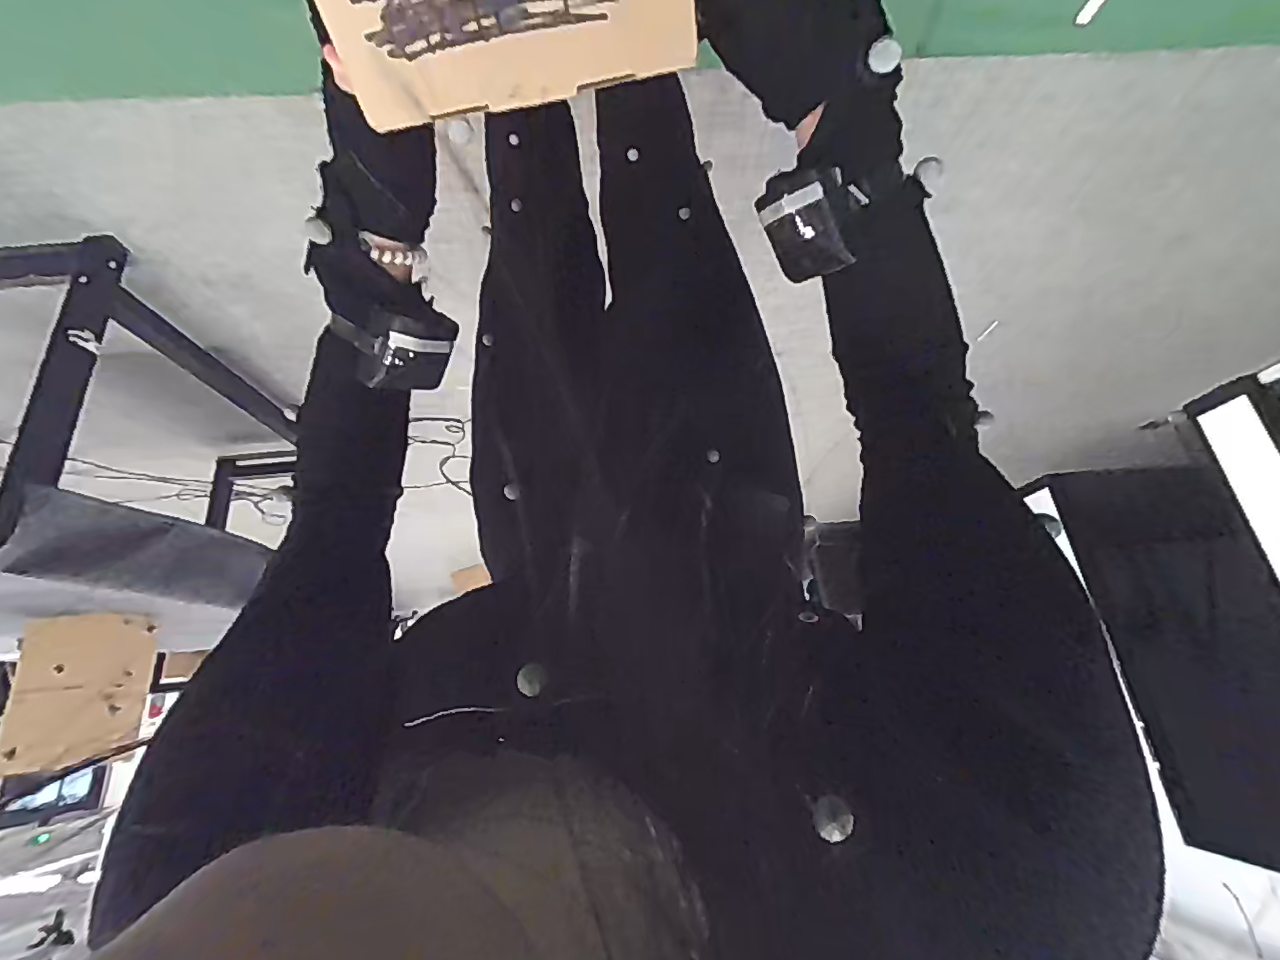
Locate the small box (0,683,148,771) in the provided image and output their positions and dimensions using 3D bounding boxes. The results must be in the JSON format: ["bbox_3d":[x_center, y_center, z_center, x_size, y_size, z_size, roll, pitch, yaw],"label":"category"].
[{"bbox_3d":[-1.310,0.567,1.262,0.179,0.176,0.168,-6,161,0],"label":"small box"}]

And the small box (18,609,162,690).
[{"bbox_3d":[-1.311,0.408,1.307,0.179,0.176,0.168,-4,160,-1],"label":"small box"}]
